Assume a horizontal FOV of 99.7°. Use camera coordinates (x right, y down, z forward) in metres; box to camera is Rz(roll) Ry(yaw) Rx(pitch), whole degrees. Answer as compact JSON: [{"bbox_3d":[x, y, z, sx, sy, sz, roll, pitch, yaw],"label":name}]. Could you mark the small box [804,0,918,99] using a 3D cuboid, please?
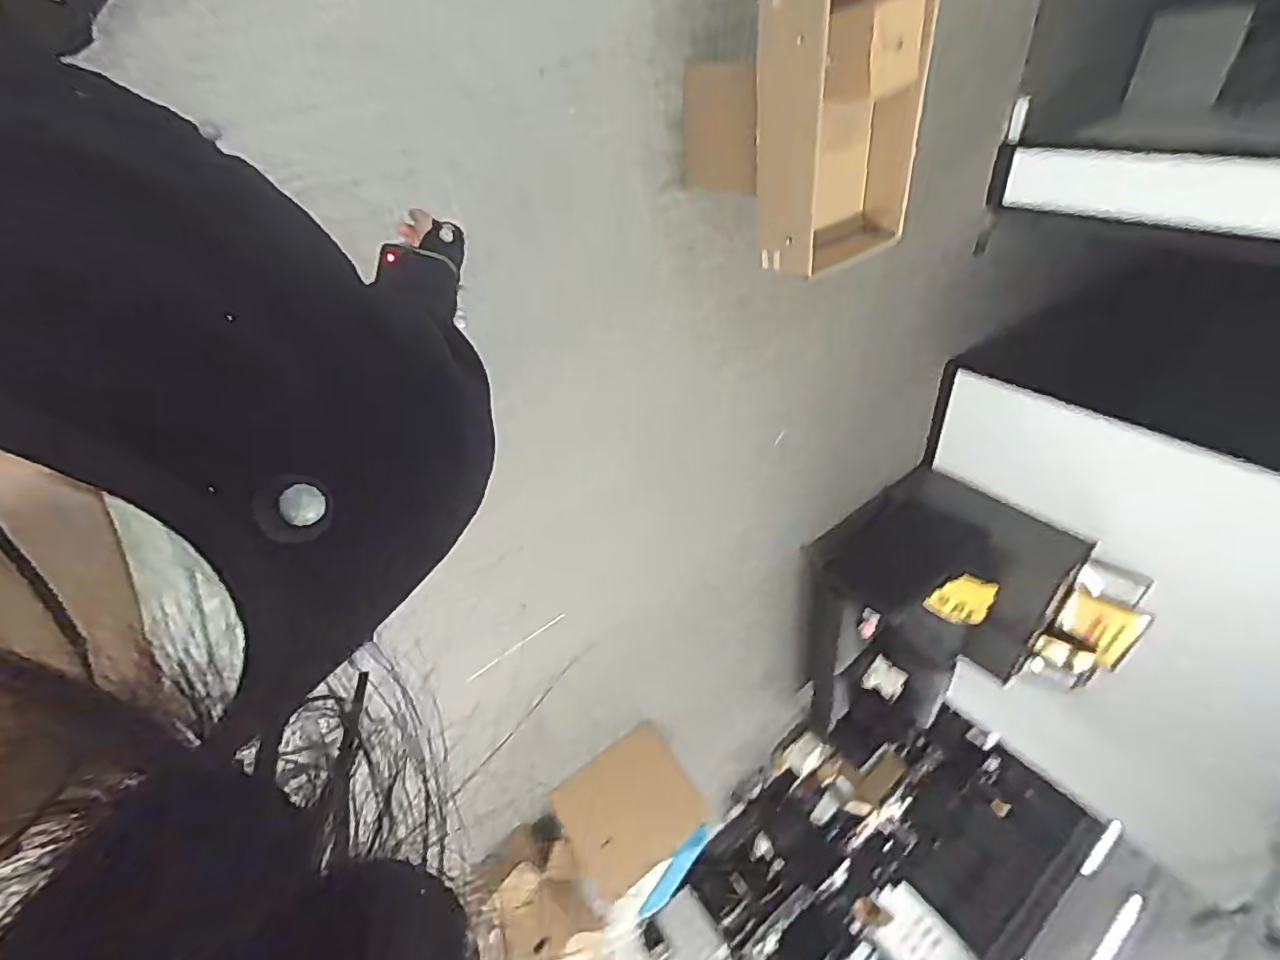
[{"bbox_3d":[0.500,-0.995,1.240,0.179,0.176,0.168,-33,134,-20],"label":"small box"}]
